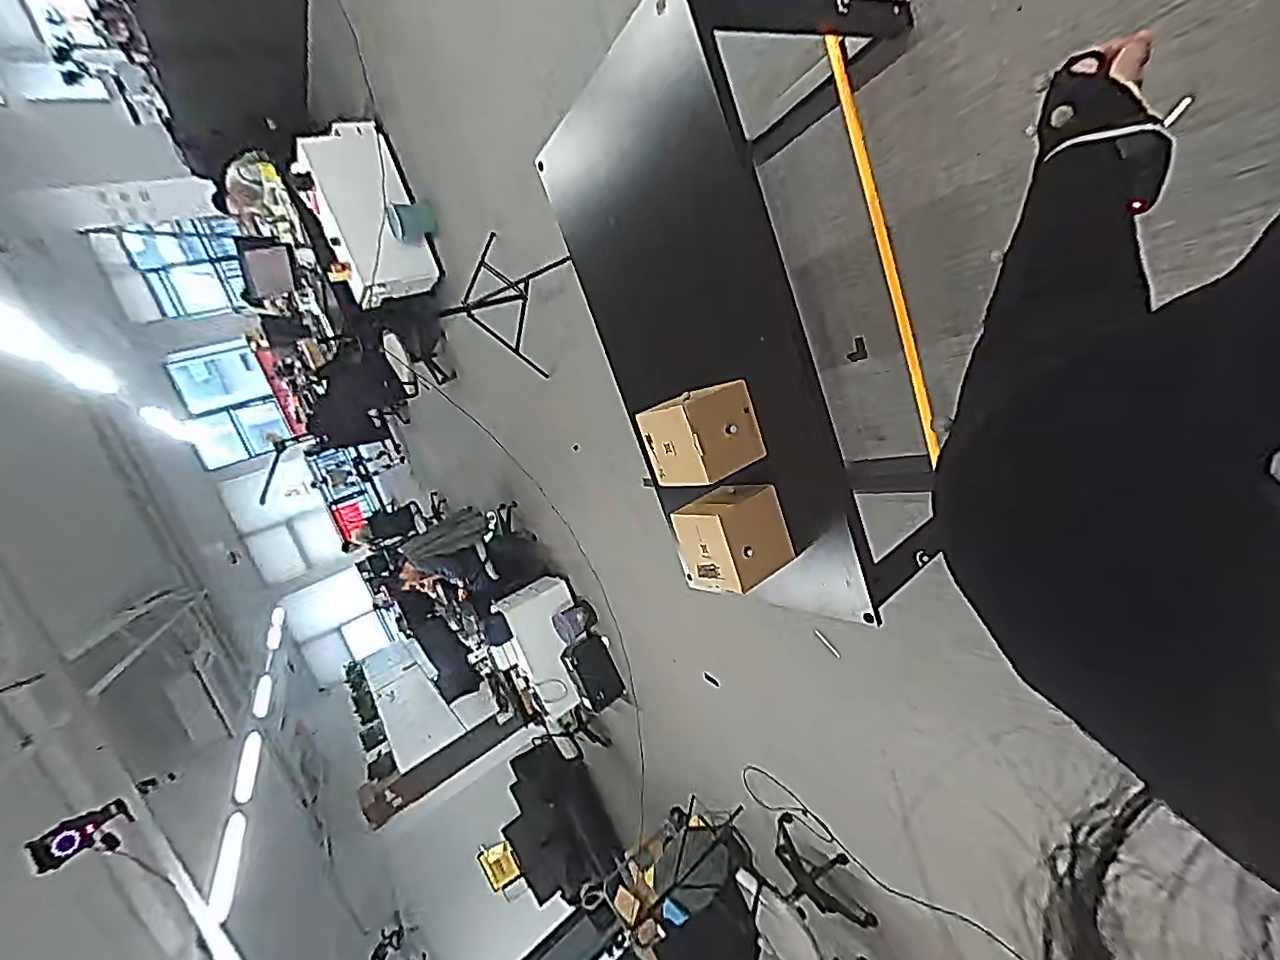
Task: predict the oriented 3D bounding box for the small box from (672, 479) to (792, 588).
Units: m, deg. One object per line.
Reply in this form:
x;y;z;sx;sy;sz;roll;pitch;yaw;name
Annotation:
0.203;0.109;1.180;0.168;0.176;0.179;-3;110;58;small box

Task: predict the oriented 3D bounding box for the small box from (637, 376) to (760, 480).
0.129;-0.107;1.132;0.179;0.176;0.168;-1;112;57;small box
